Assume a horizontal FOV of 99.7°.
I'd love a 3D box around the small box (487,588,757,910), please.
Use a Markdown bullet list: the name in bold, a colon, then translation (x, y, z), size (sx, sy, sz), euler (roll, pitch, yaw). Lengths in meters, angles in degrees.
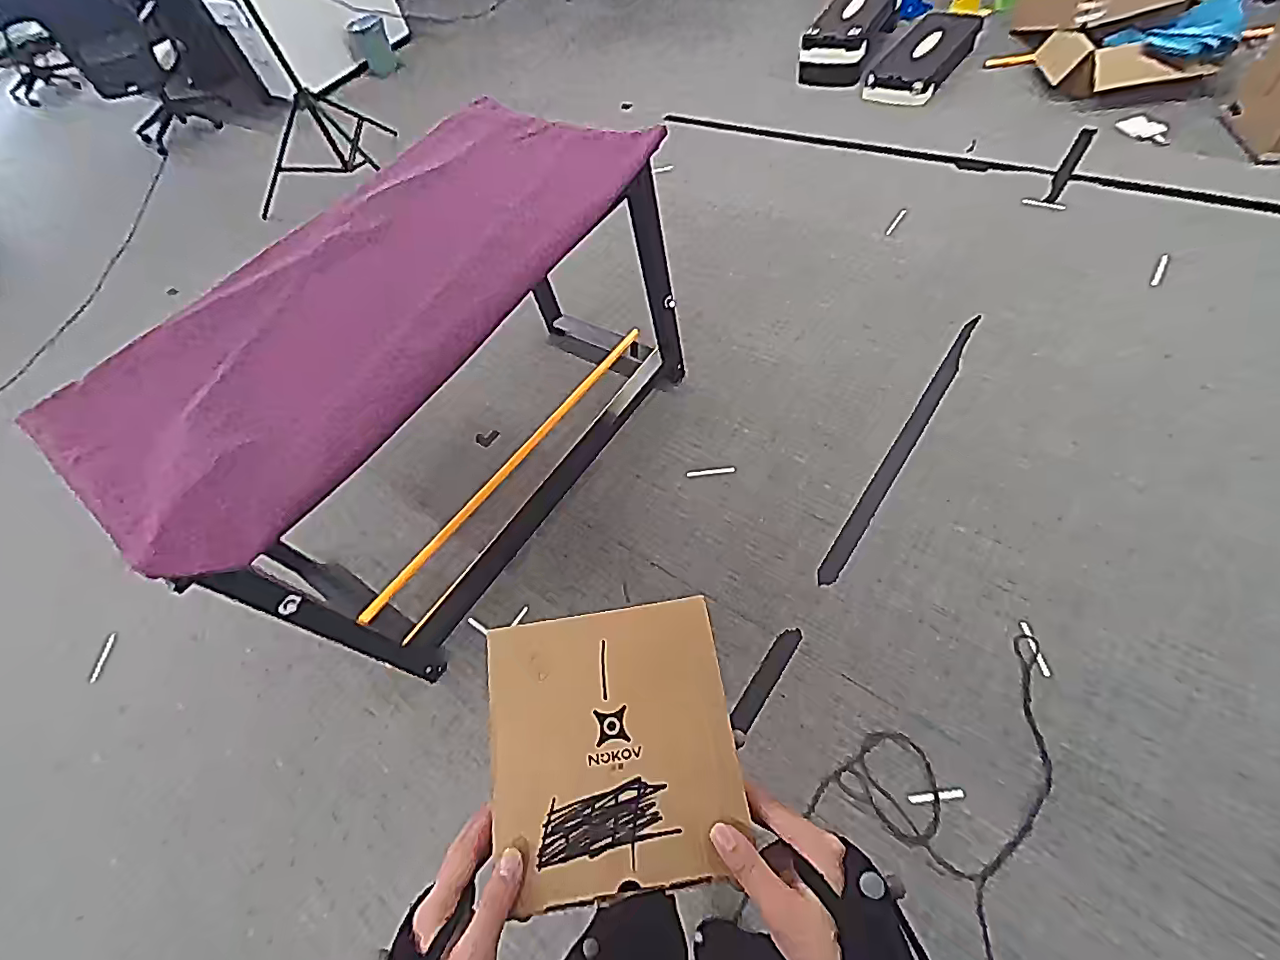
- **small box**: translation (-0.017, 0.202, 0.429), size (0.168, 0.176, 0.179), euler (-8, 63, -3)
